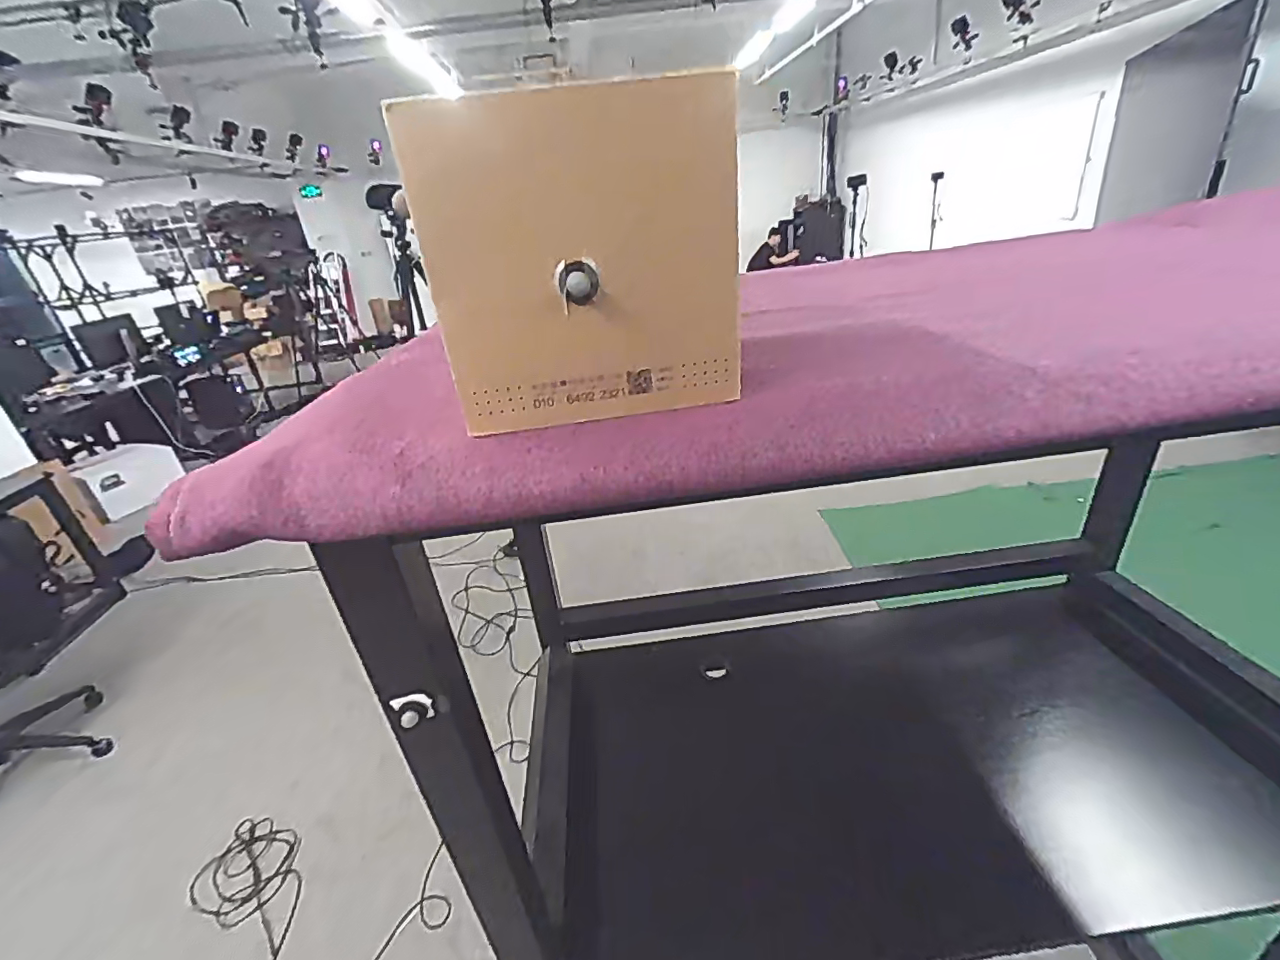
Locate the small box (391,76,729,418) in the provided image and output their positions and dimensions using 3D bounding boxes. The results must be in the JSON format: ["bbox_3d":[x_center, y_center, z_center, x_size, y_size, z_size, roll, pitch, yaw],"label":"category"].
[{"bbox_3d":[-0.039,-0.146,0.366,0.168,0.176,0.179,-7,27,-4],"label":"small box"}]
